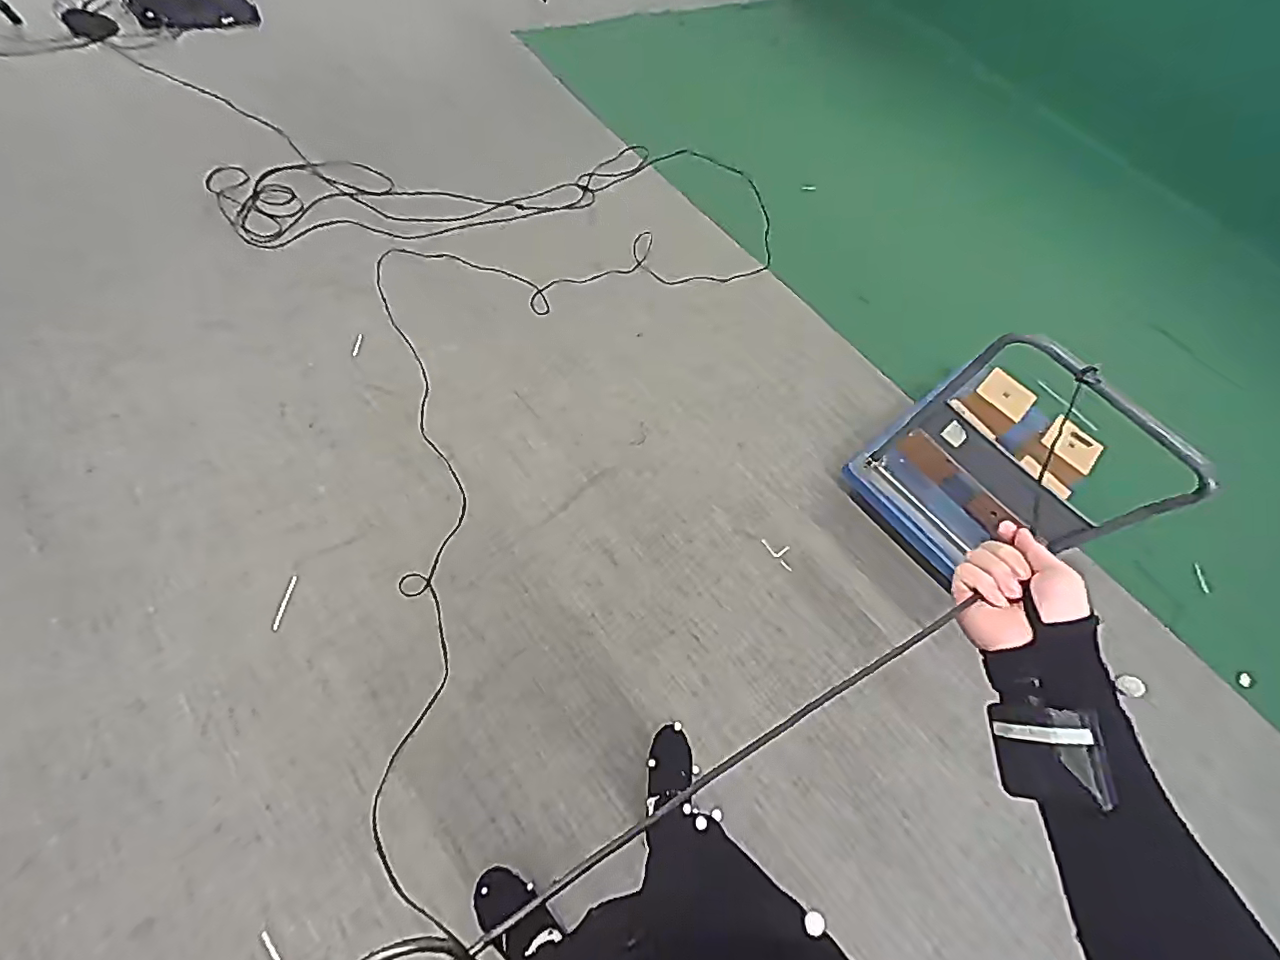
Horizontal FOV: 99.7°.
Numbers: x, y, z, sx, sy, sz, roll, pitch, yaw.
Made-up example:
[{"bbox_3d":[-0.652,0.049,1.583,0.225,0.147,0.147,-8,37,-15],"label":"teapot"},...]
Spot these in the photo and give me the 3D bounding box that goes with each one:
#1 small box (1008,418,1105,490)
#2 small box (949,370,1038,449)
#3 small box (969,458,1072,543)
[{"bbox_3d":[1.389,-0.068,1.814,0.179,0.176,0.168,-38,74,-26],"label":"small box"},{"bbox_3d":[1.216,-0.240,1.875,0.179,0.176,0.168,-38,75,-27],"label":"small box"},{"bbox_3d":[1.186,0.067,1.699,0.179,0.176,0.168,-33,72,-25],"label":"small box"}]
